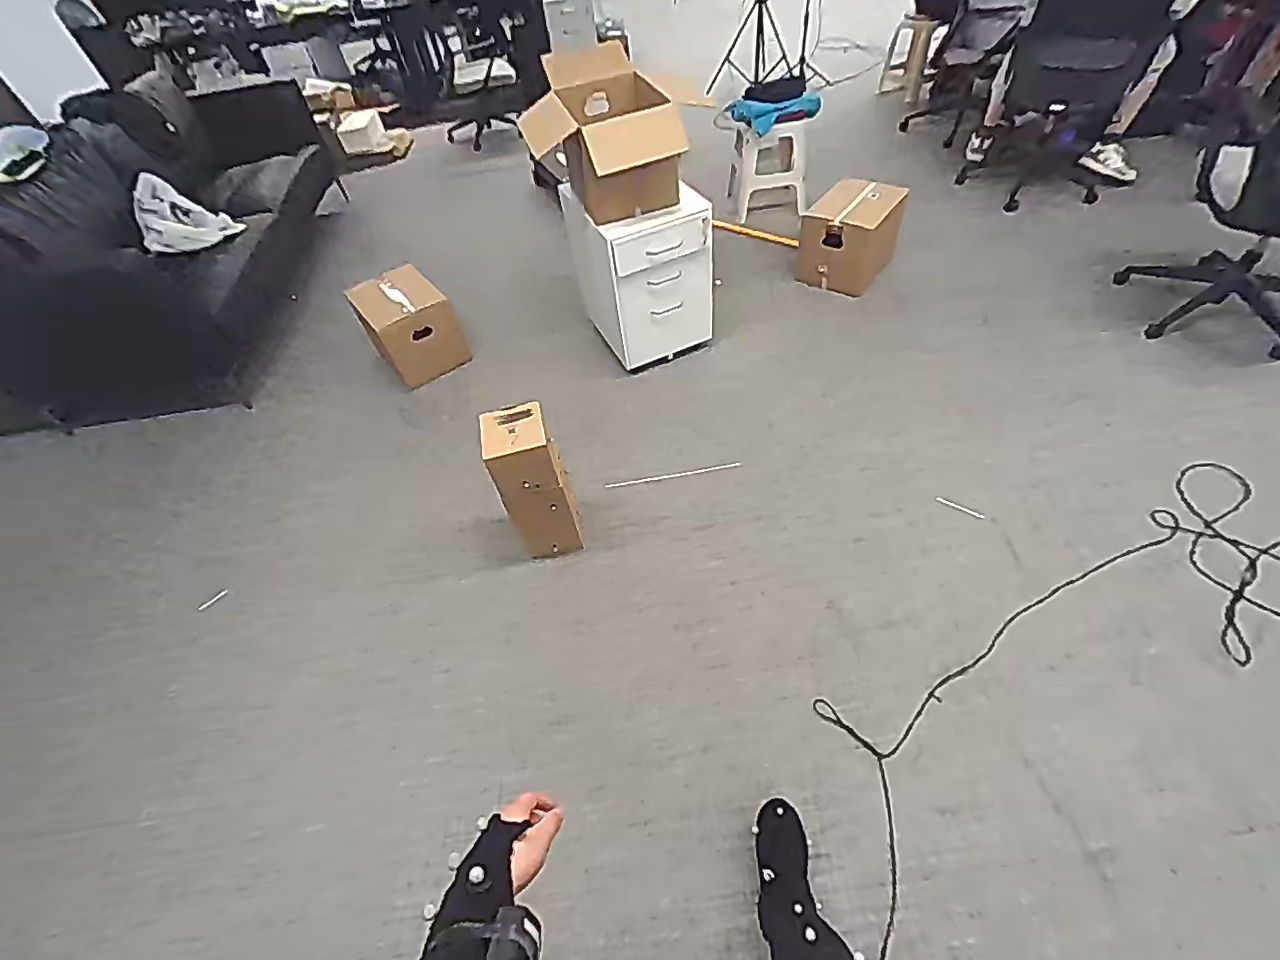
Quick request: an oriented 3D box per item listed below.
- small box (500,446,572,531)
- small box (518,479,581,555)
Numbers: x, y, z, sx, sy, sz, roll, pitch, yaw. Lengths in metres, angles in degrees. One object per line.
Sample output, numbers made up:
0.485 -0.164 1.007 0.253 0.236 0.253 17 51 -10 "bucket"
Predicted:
-0.304 0.028 1.601 0.179 0.176 0.168 -14 49 -1 "small box"
-0.288 0.121 1.734 0.179 0.176 0.168 -11 50 -1 "small box"
